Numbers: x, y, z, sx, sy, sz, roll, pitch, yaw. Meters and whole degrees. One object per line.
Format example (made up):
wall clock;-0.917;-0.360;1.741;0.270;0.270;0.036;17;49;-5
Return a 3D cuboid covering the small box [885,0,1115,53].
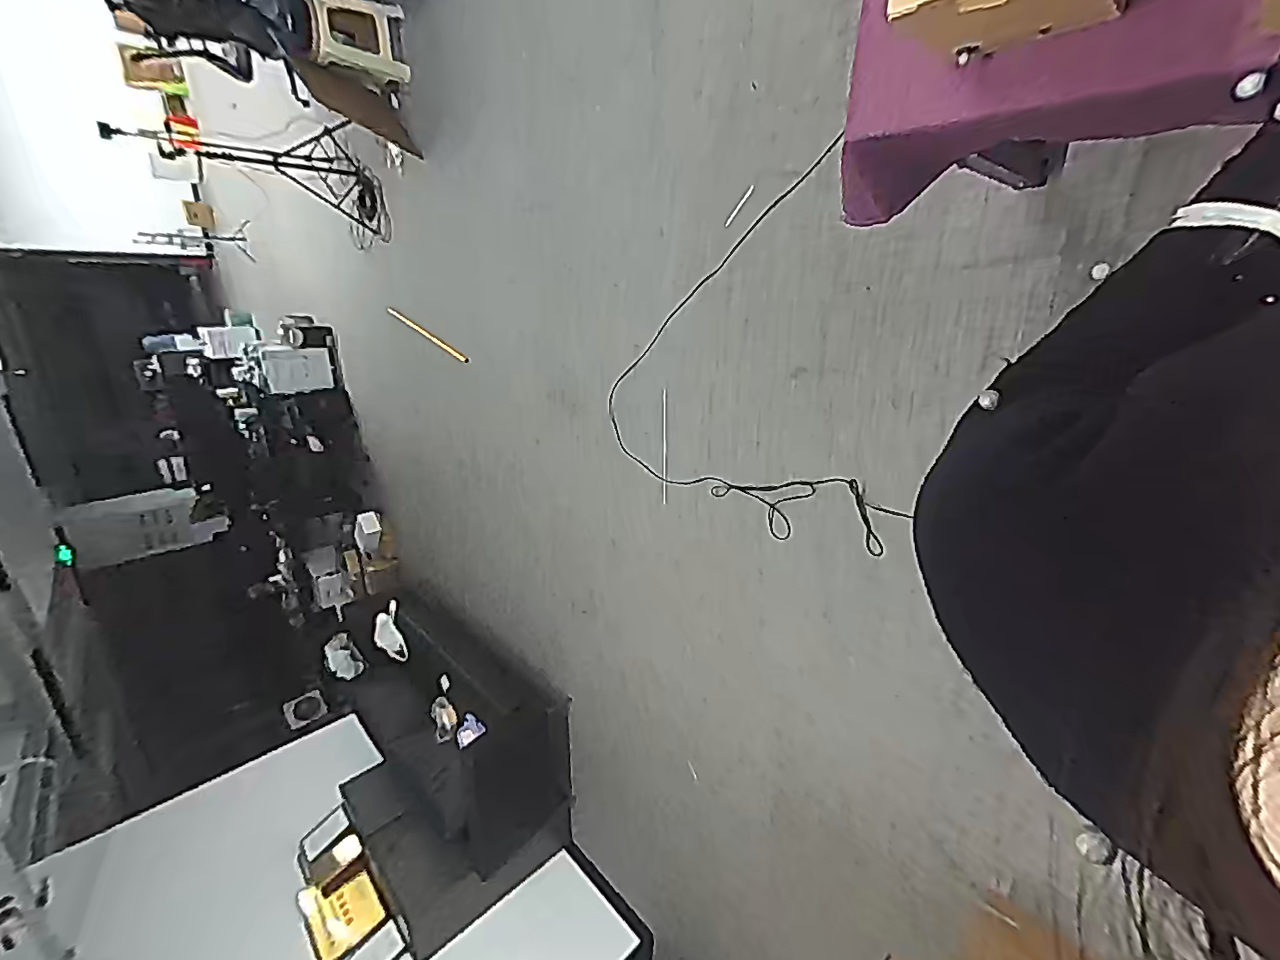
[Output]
small box;0.362;-0.545;0.516;0.168;0.176;0.179;19;115;43
